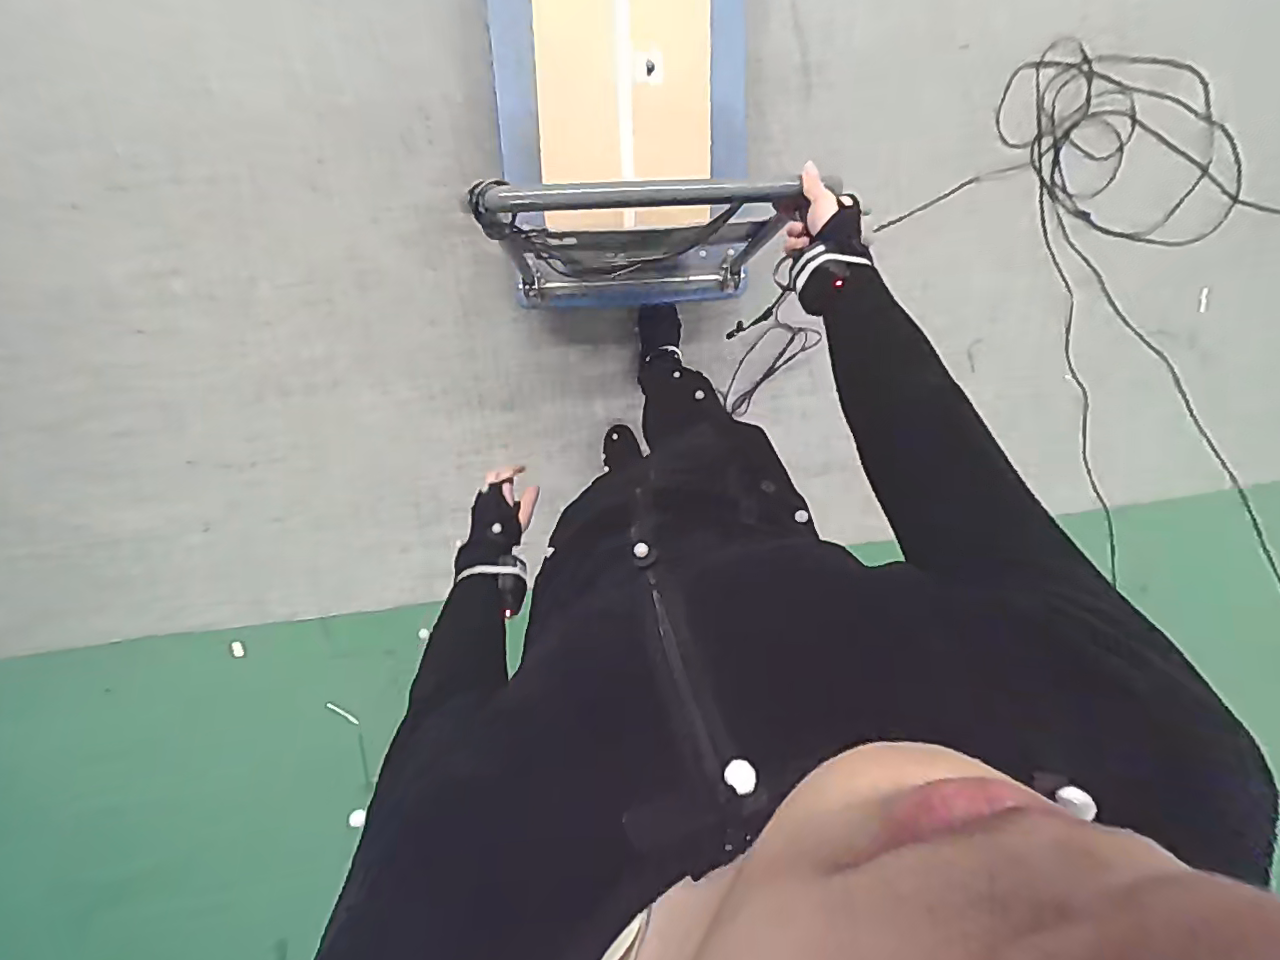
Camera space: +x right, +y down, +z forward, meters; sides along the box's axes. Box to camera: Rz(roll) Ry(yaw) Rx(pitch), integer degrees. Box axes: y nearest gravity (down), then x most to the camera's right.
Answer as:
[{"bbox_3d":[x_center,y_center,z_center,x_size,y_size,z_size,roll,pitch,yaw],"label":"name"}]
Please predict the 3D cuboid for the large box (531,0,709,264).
[{"bbox_3d":[-0.037,-0.696,1.131,0.320,0.320,0.408,-2,101,-3],"label":"large box"}]
